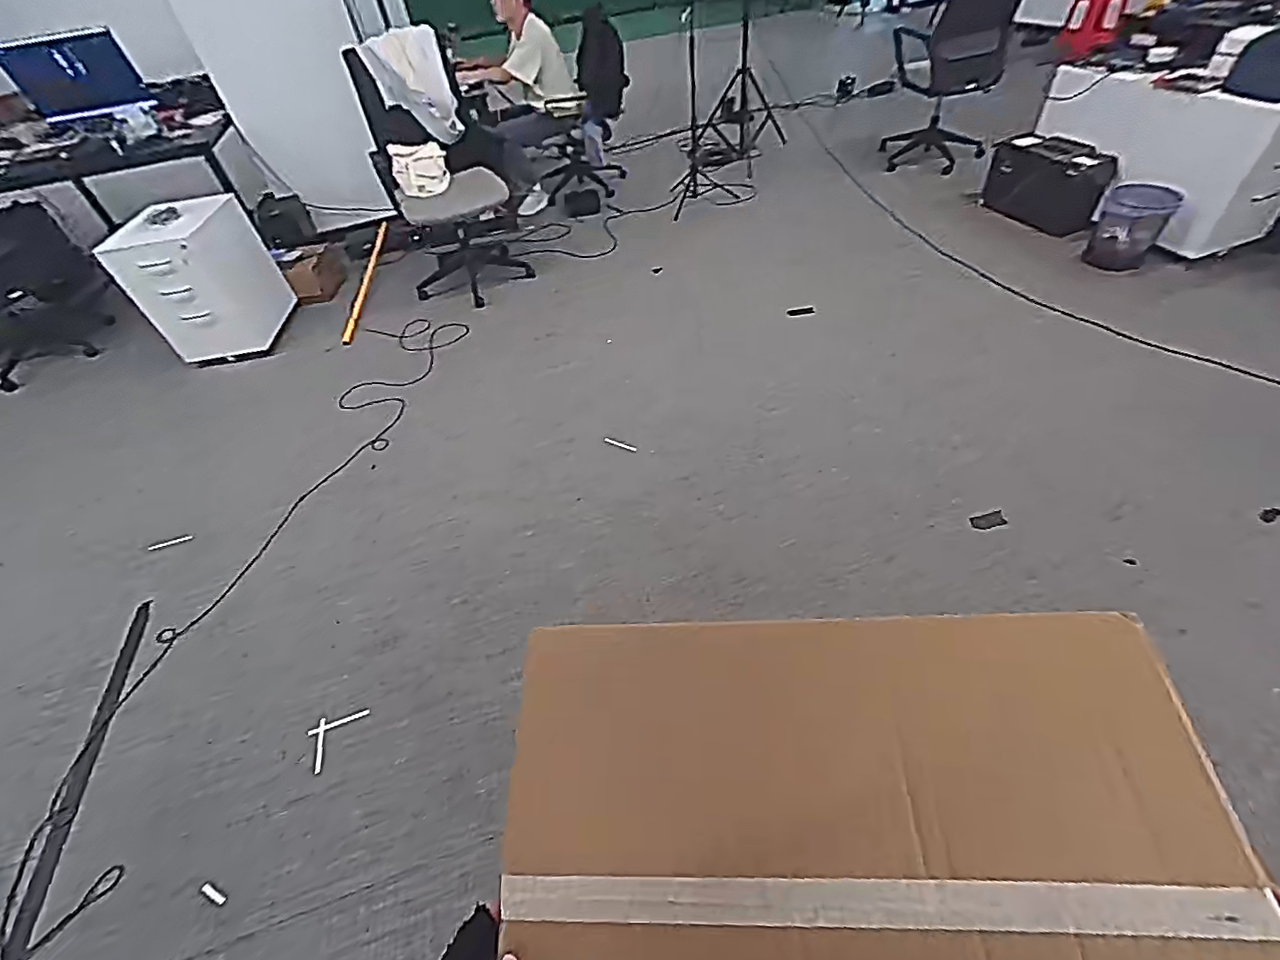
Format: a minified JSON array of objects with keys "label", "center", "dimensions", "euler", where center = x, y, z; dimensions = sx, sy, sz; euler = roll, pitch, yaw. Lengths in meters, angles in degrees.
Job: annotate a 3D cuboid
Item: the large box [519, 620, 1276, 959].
[{"label":"large box","center":[0.142,0.315,0.433],"dimensions":[0.408,0.320,0.320],"euler":[-4,60,6]}]
